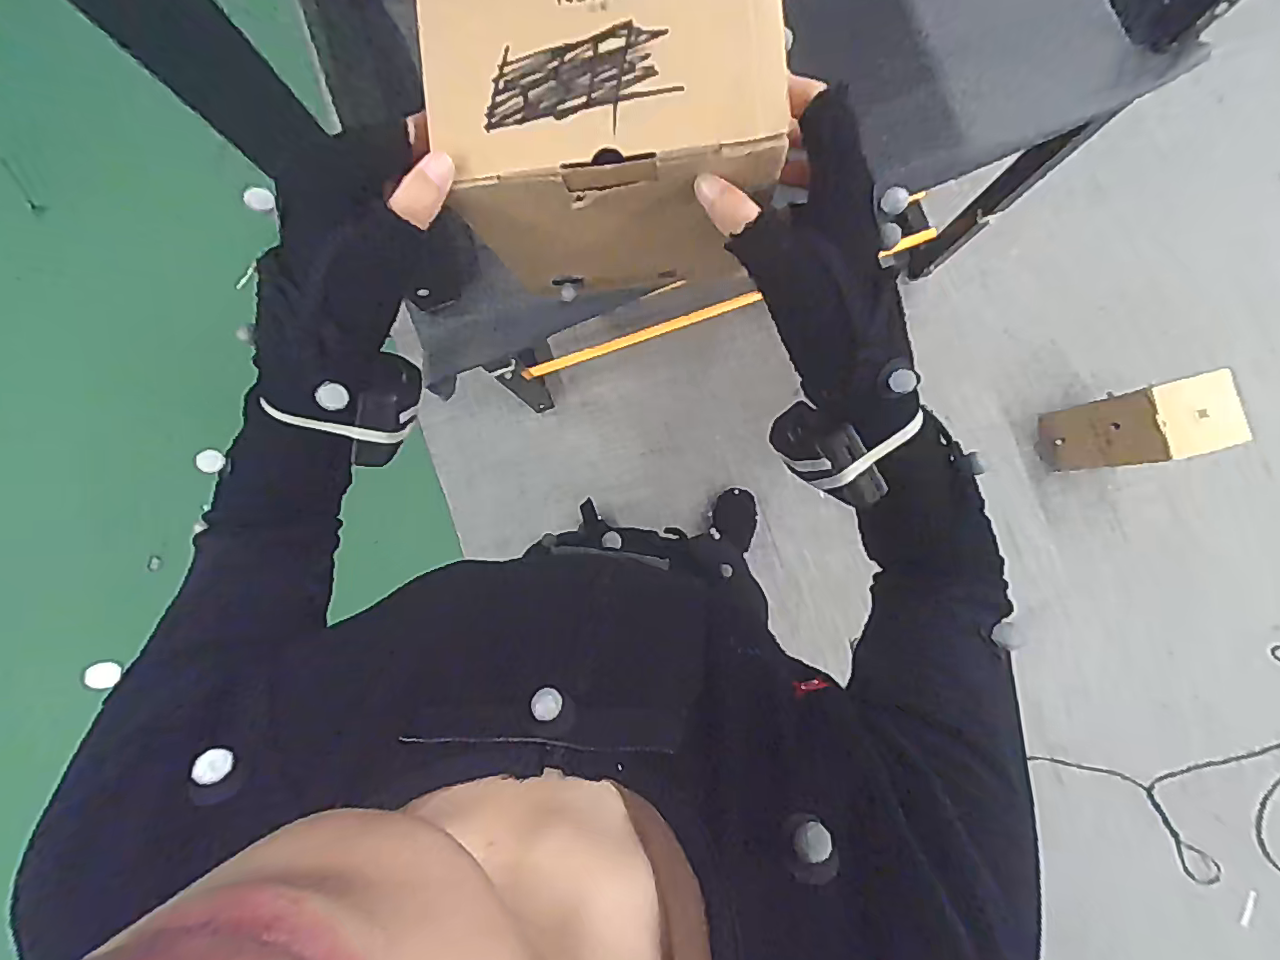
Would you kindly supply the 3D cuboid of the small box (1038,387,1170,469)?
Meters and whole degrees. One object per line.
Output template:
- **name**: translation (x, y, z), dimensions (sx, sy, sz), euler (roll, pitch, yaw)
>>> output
- **small box**: translation (1.190, -0.130, 1.400), dimensions (0.179, 0.176, 0.168), euler (-13, 86, 1)
